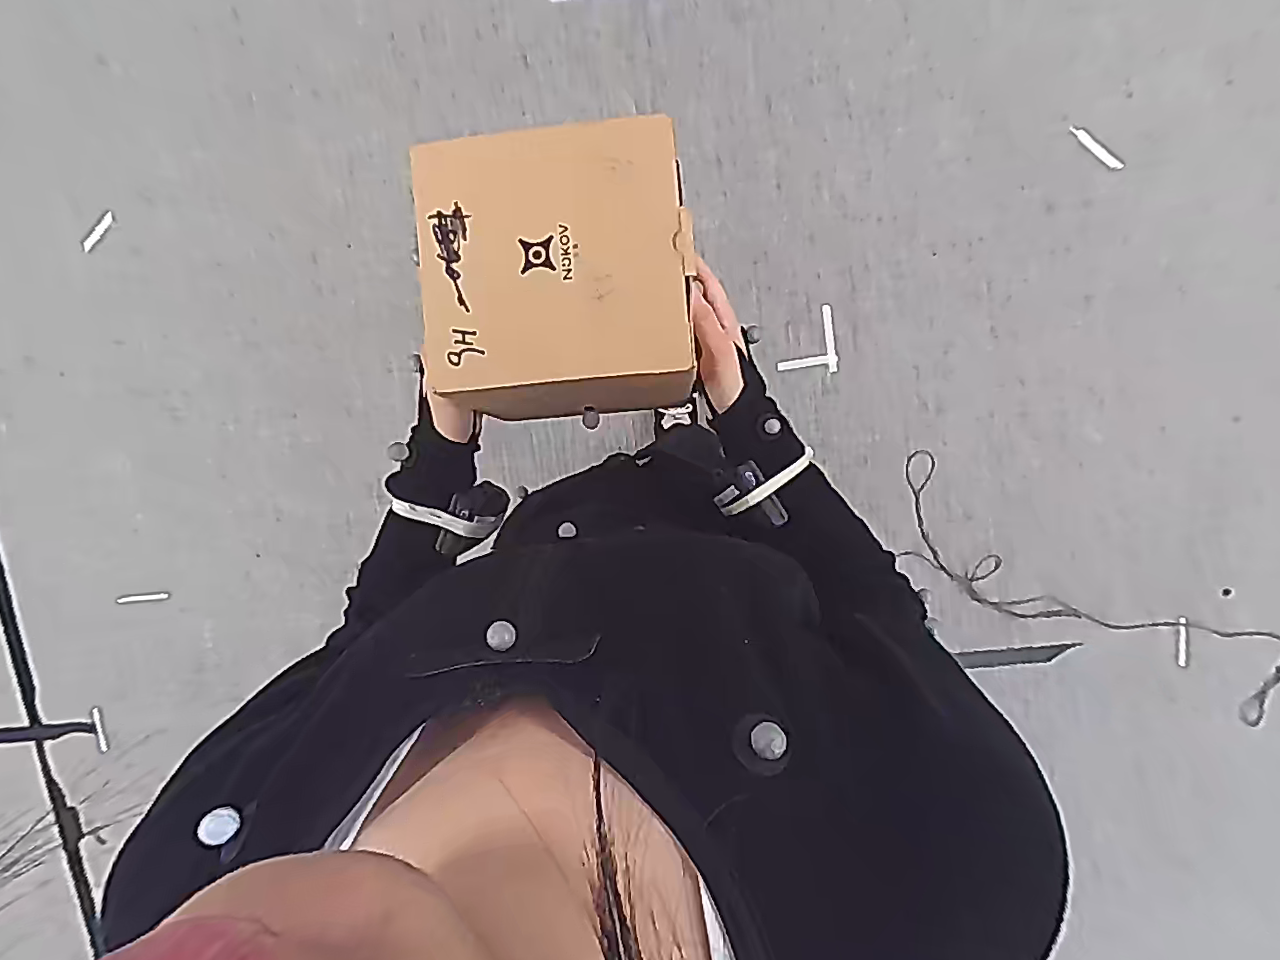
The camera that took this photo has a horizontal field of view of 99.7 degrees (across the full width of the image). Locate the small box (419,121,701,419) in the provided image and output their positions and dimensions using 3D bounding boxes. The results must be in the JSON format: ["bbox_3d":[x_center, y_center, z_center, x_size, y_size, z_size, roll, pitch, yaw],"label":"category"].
[{"bbox_3d":[-0.051,-0.144,0.430,0.179,0.176,0.168,-4,89,2],"label":"small box"}]
